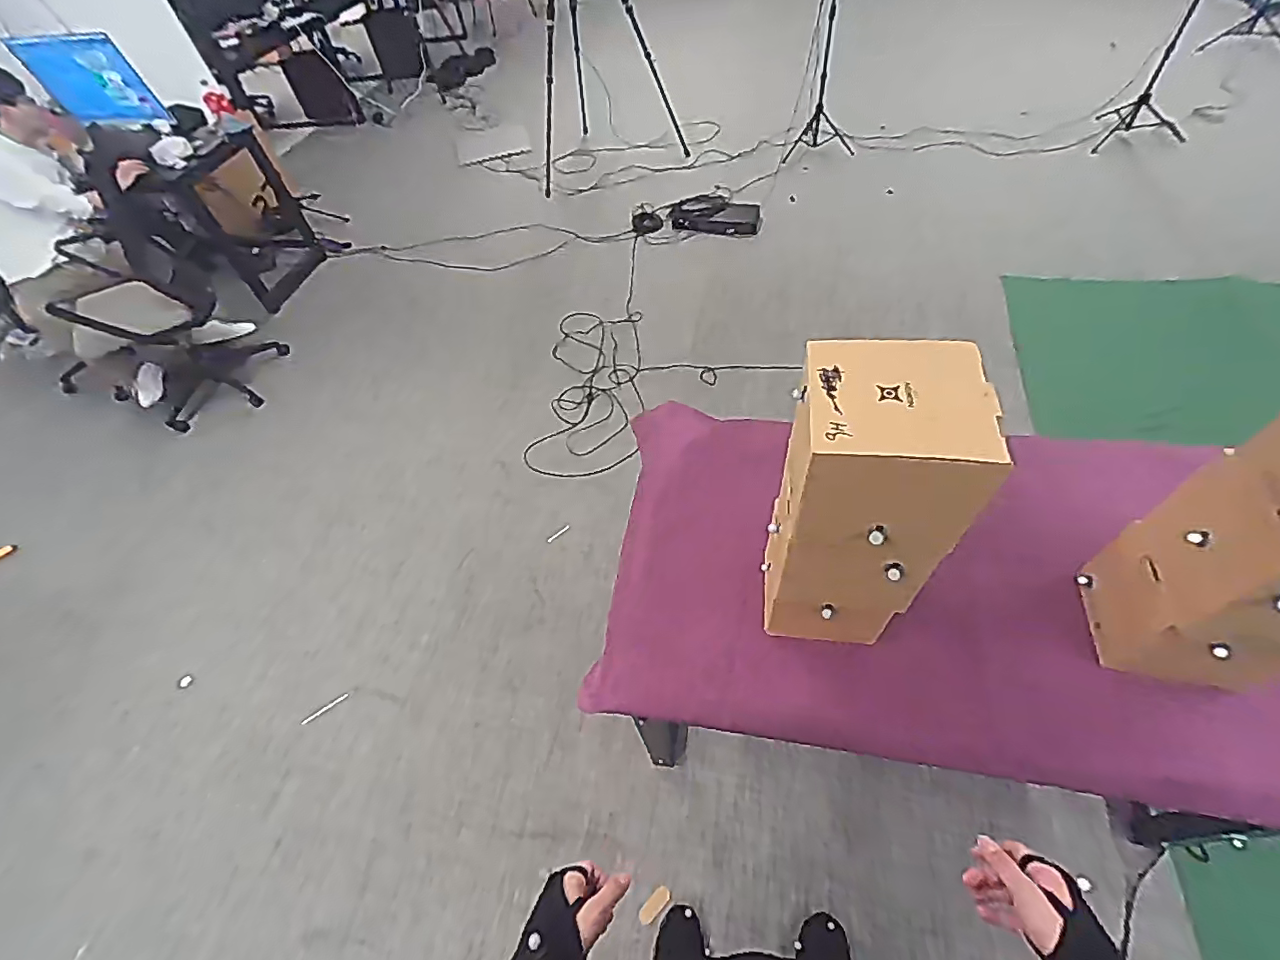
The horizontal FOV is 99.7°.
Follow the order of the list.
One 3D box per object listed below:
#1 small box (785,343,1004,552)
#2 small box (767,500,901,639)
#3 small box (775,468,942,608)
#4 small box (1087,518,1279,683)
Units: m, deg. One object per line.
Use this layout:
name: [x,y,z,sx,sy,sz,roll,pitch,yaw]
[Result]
small box: [0.264,-0.032,0.607,0.179,0.176,0.168,4,54,11]
small box: [0.303,0.149,0.879,0.179,0.176,0.168,2,54,11]
small box: [0.283,0.062,0.739,0.179,0.176,0.168,4,54,12]
small box: [0.791,0.176,0.780,0.179,0.176,0.168,7,54,13]
